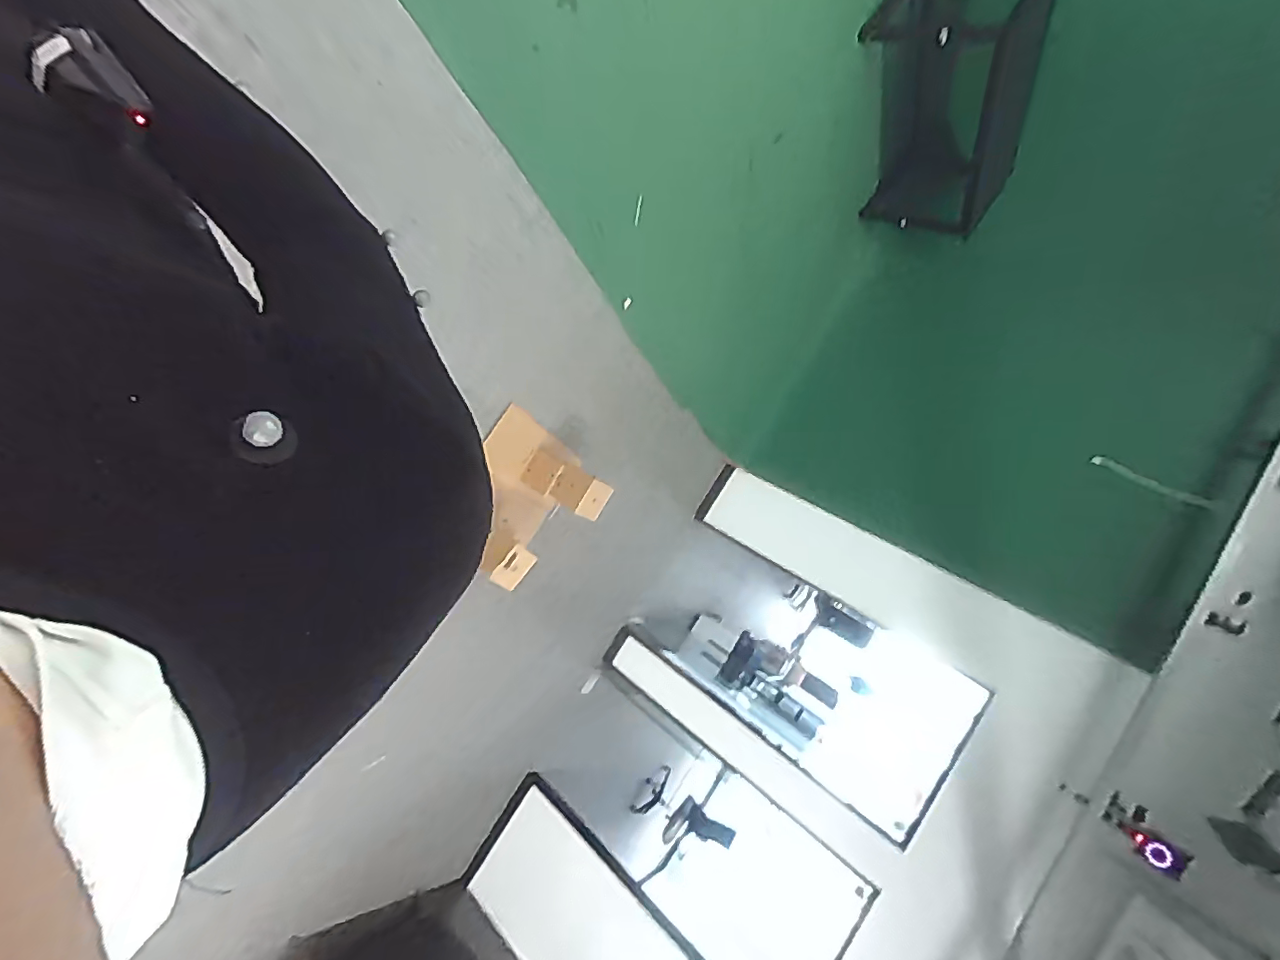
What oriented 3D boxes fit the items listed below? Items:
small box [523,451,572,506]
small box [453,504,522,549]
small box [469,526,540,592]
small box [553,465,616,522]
[{"bbox_3d":[-0.379,-0.008,2.390,0.168,0.176,0.179,-59,149,0],"label":"small box"},{"bbox_3d":[-0.628,0.219,2.221,0.168,0.176,0.179,-54,149,-10],"label":"small box"},{"bbox_3d":[-0.533,0.303,2.110,0.168,0.176,0.179,-51,150,-13],"label":"small box"},{"bbox_3d":[-0.241,0.053,2.320,0.168,0.176,0.179,-58,150,0],"label":"small box"}]
